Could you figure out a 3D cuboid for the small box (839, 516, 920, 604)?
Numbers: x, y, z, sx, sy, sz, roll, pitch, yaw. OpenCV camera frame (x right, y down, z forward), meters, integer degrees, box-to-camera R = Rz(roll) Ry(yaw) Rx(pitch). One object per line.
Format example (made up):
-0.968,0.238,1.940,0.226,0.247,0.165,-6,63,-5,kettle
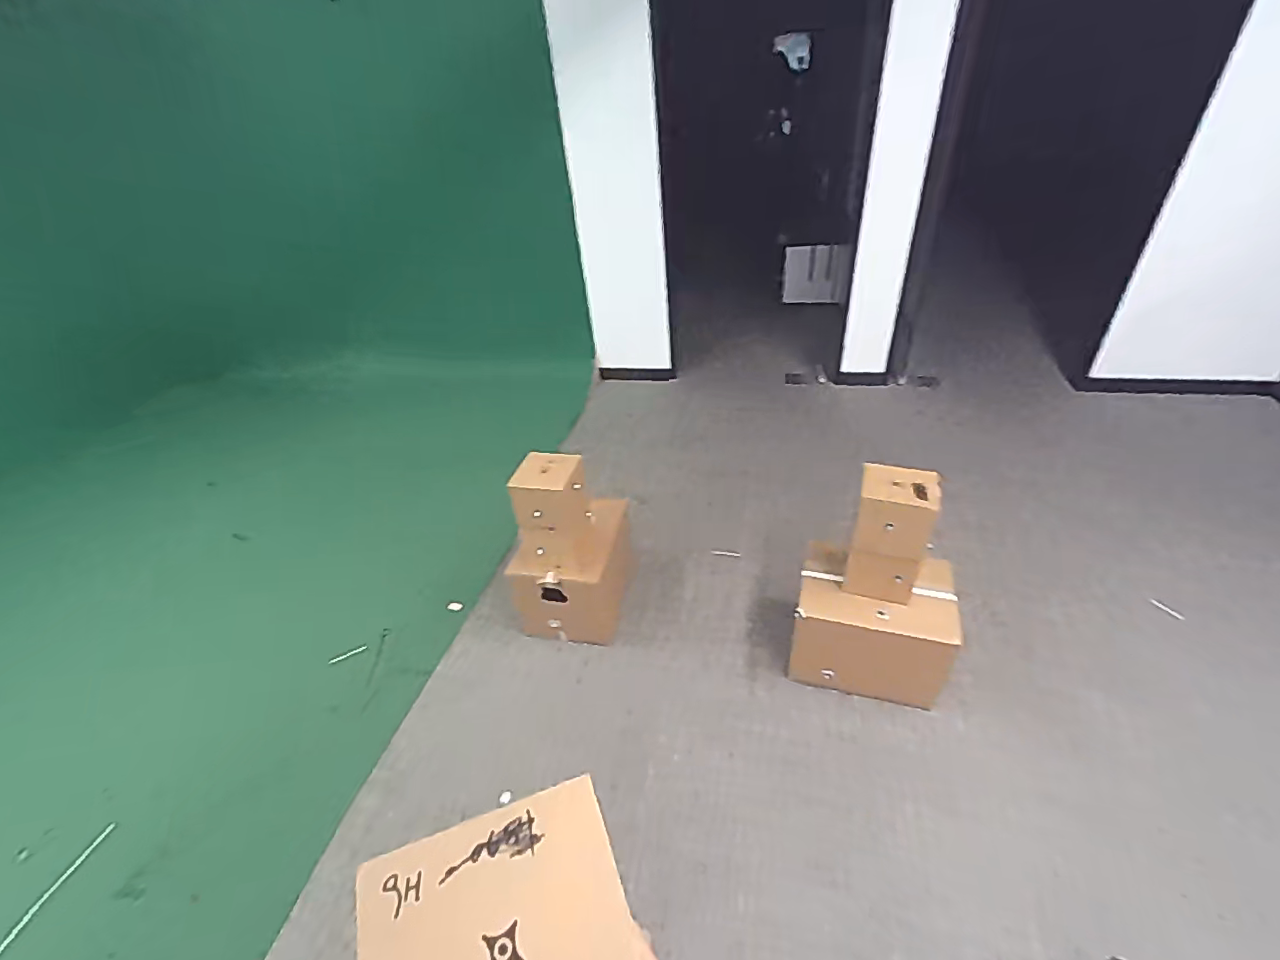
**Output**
0.661,0.218,1.496,0.179,0.176,0.168,10,37,20,small box

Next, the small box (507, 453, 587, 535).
-0.263,0.041,1.585,0.168,0.176,0.179,5,37,14,small box

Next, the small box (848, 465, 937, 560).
0.651,0.086,1.398,0.179,0.176,0.168,10,37,21,small box

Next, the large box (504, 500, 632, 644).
-0.229,0.314,1.901,0.320,0.320,0.408,3,37,12,large box

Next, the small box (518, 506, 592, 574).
-0.257,0.171,1.686,0.168,0.176,0.179,5,37,14,small box
